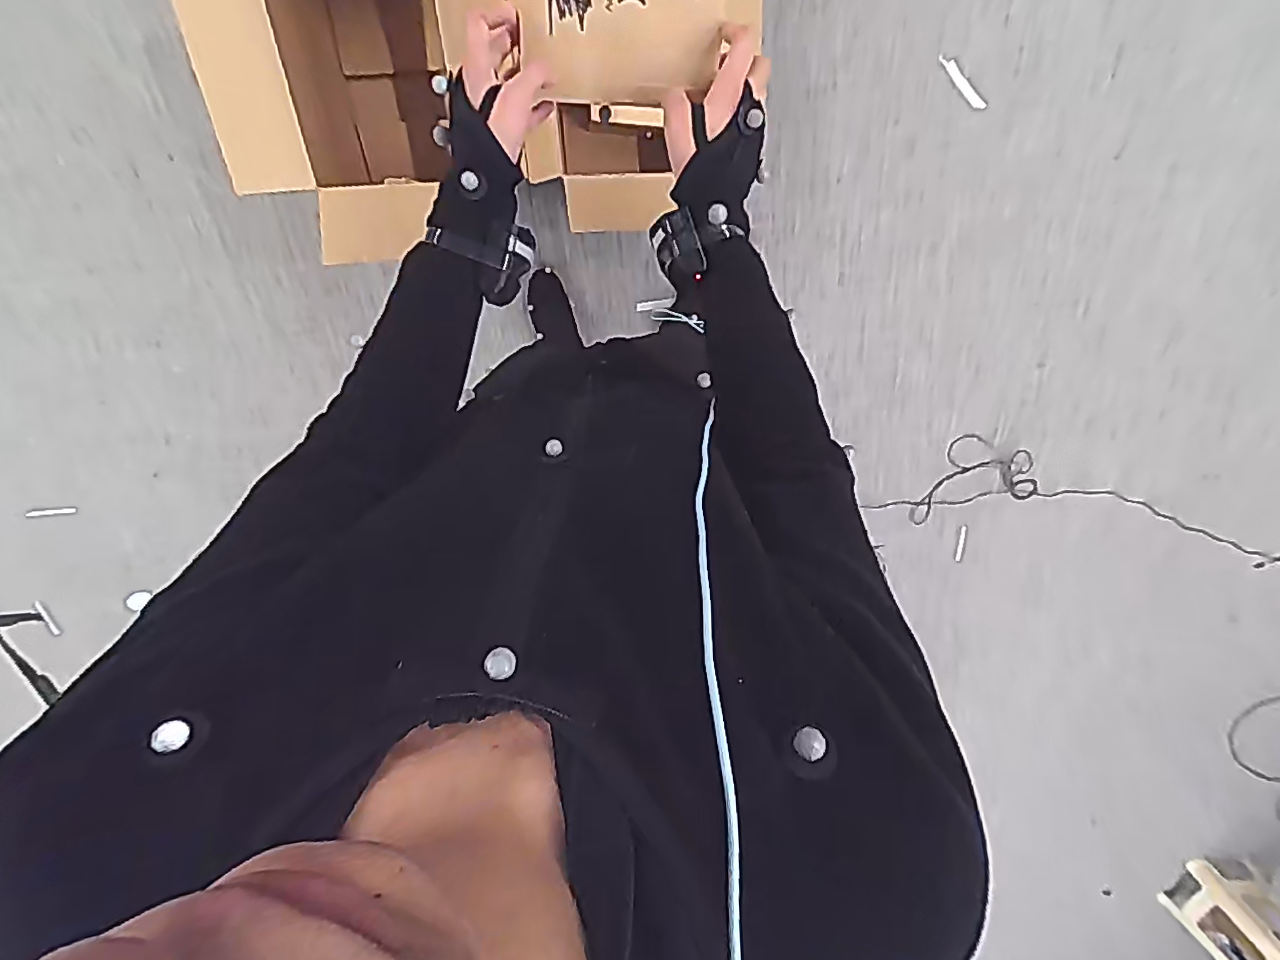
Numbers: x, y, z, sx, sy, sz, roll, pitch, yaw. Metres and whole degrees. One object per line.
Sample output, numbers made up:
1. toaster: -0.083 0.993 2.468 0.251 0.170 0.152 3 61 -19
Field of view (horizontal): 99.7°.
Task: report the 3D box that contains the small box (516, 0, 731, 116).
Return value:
1. small box: -0.016 -0.440 0.495 0.179 0.176 0.168 1 126 -5
